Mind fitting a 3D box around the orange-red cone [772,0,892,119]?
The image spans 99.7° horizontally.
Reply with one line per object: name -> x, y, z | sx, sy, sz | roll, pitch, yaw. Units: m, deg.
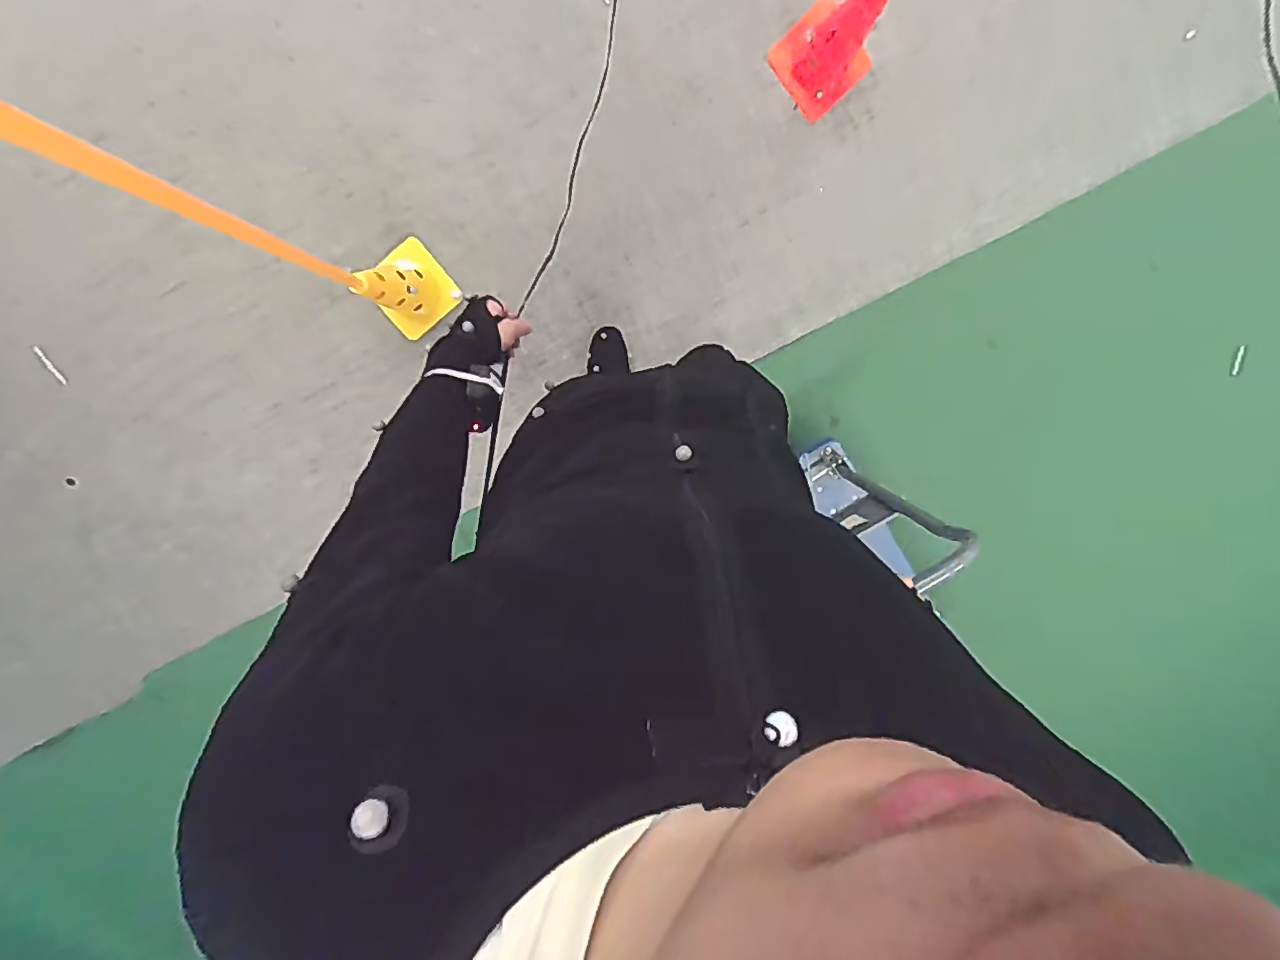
orange-red cone -> 0.461, -0.987, 1.173 | 0.199, 0.360, 0.198 | -41, 106, 8
